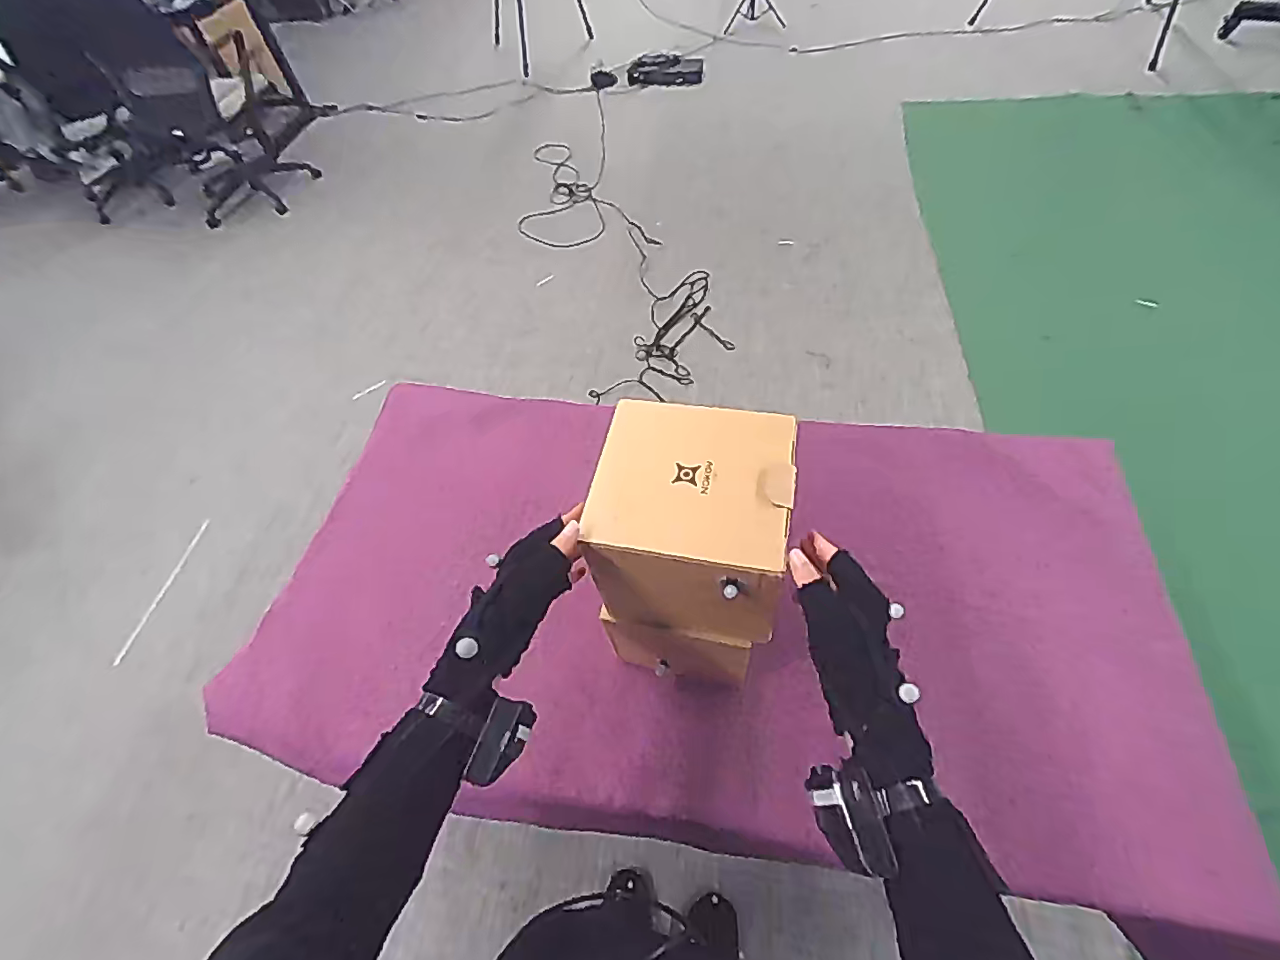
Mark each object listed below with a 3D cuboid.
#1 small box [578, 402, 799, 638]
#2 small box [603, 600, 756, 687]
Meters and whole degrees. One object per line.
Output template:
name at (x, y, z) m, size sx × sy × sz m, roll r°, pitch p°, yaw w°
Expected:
small box at (0.056, 0.043, 0.541) m, size 0.179 × 0.176 × 0.168 m, roll 7°, pitch 56°, yaw 11°
small box at (0.065, 0.136, 0.674) m, size 0.168 × 0.176 × 0.179 m, roll 8°, pitch 57°, yaw 13°
